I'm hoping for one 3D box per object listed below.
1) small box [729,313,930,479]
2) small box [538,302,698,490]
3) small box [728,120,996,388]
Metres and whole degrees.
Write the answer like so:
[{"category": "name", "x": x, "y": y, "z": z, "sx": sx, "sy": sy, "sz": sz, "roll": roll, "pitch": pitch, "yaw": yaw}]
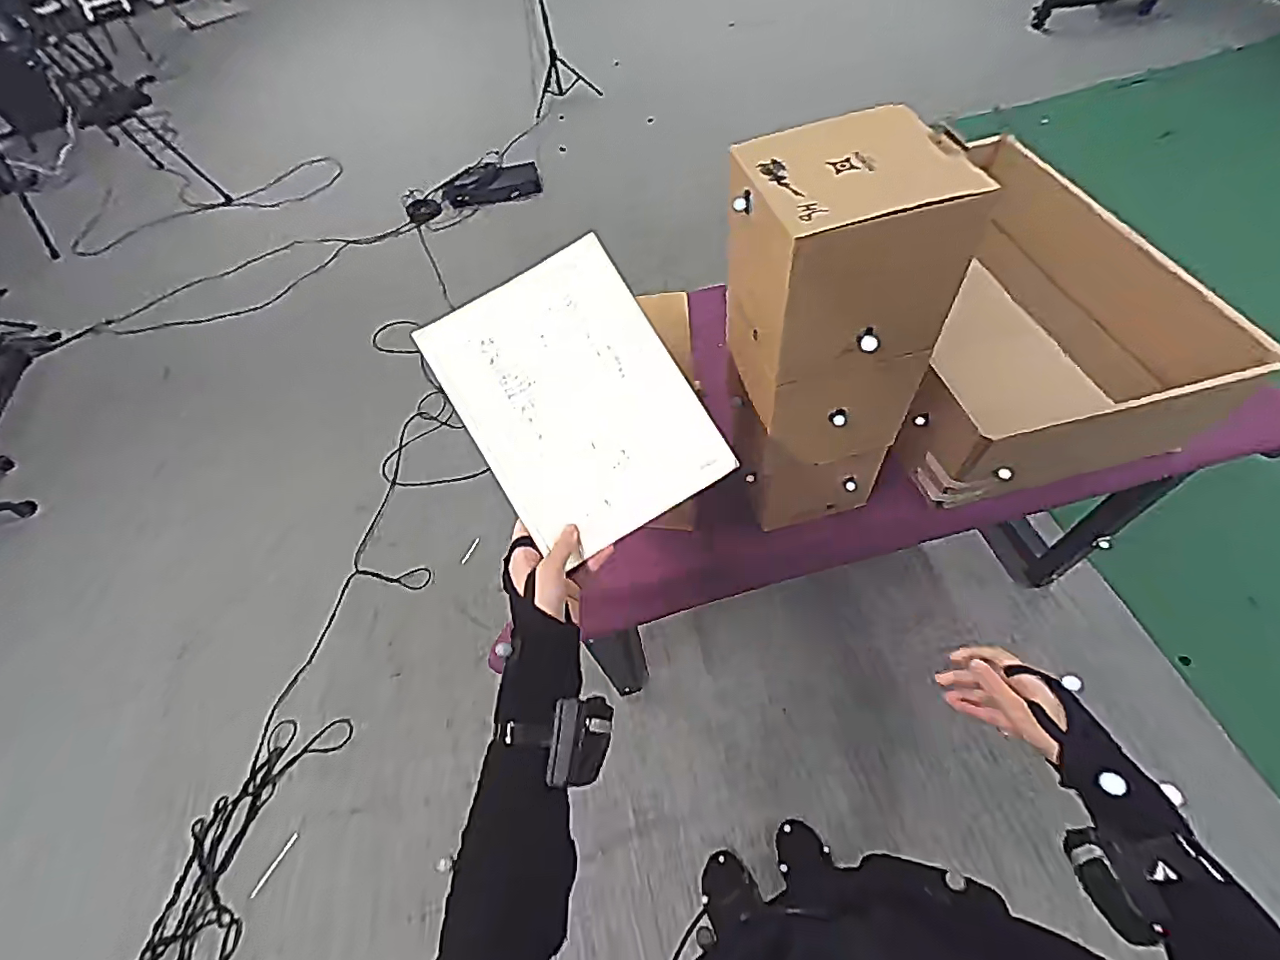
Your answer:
[{"category": "small box", "x": 0.215, "y": -0.126, "z": 0.673, "sx": 0.179, "sy": 0.176, "sz": 0.168, "roll": -14, "pitch": 54, "yaw": 0}, {"category": "small box", "x": -0.016, "y": -0.101, "z": 0.694, "sx": 0.179, "sy": 0.176, "sz": 0.168, "roll": -5, "pitch": 56, "yaw": 7}, {"category": "small box", "x": 0.194, "y": -0.218, "z": 0.539, "sx": 0.179, "sy": 0.176, "sz": 0.168, "roll": -14, "pitch": 54, "yaw": -2}]
